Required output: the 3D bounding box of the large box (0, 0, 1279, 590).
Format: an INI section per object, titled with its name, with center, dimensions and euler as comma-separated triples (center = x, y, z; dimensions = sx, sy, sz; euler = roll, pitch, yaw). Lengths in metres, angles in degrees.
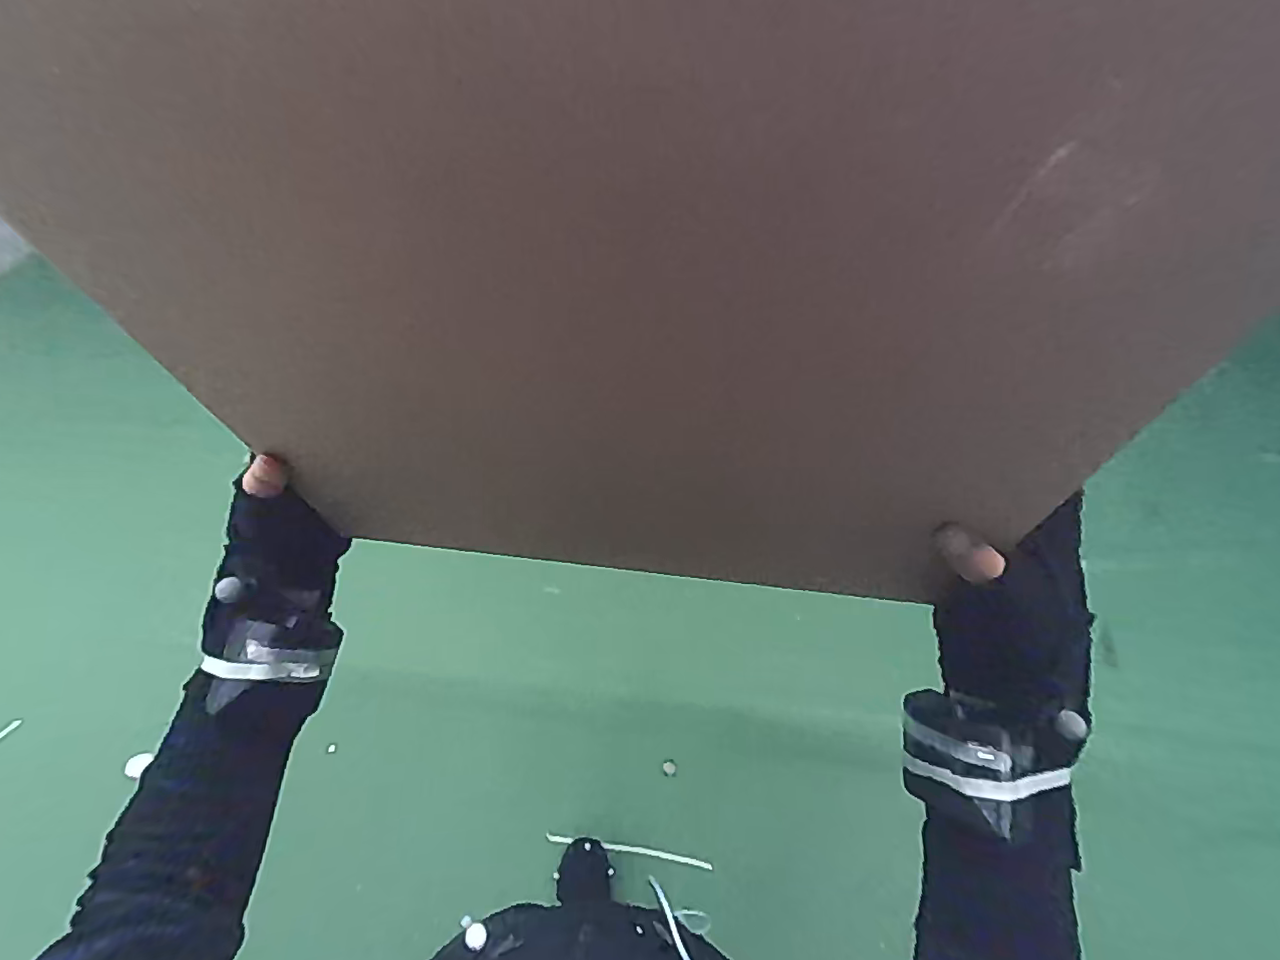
[large box]
center = 0.012, -0.153, 0.319
dimensions = 0.408, 0.320, 0.320
euler = 6, 56, 6
